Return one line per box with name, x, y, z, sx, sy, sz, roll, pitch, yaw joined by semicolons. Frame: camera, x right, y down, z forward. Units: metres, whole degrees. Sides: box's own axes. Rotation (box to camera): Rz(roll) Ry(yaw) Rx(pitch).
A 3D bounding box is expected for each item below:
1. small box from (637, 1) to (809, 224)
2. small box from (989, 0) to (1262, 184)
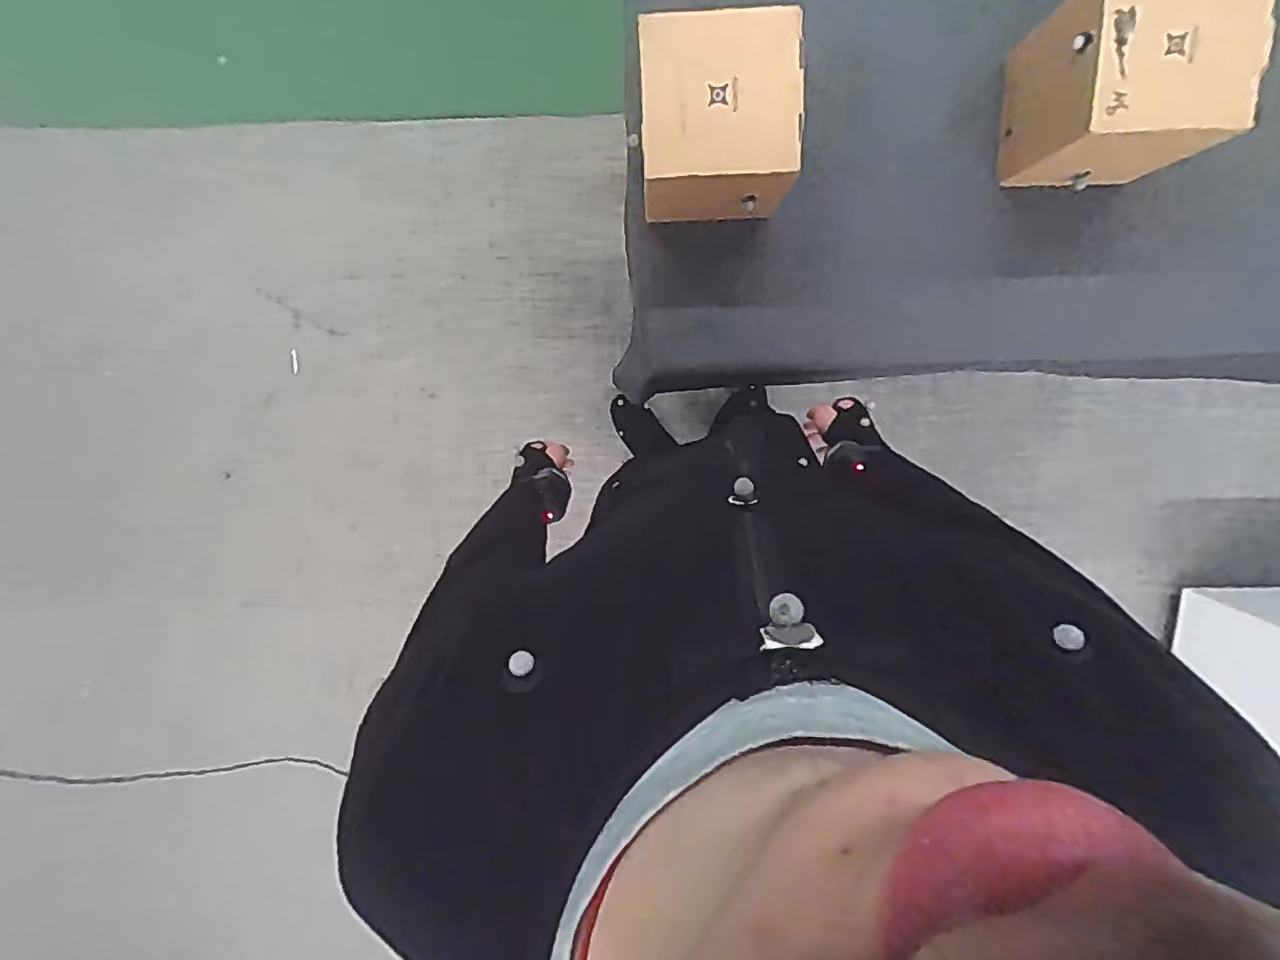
small box;0.089;-0.422;0.648;0.179;0.176;0.168;-4;98;0
small box;0.568;-0.475;0.653;0.179;0.176;0.168;-2;100;-2
